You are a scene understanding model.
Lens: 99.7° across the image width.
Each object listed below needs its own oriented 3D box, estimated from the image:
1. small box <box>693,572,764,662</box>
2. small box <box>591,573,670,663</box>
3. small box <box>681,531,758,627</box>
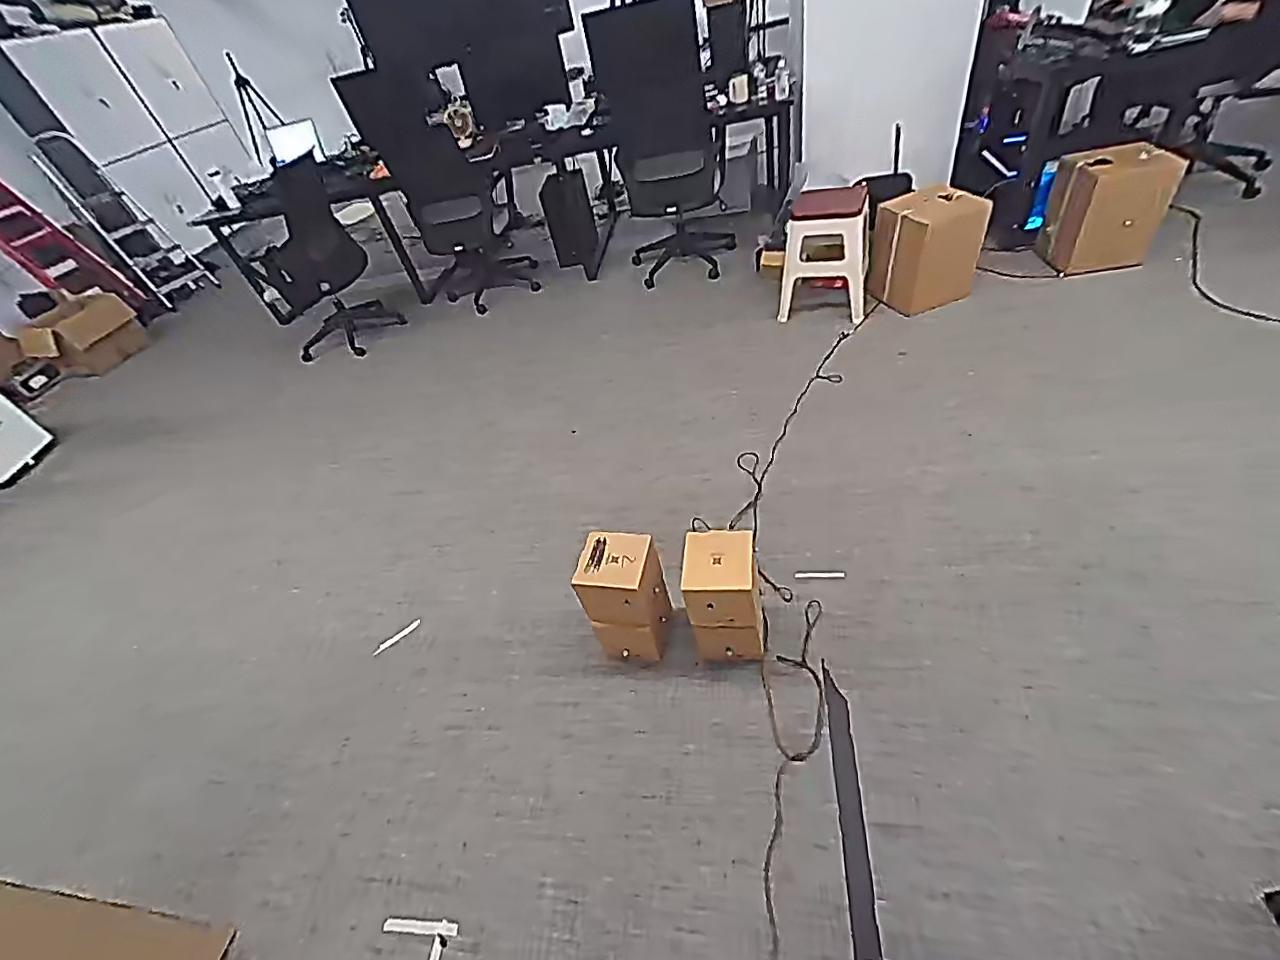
[{"bbox_3d":[0.241,0.364,1.447,0.168,0.176,0.179,-4,44,15],"label":"small box"},{"bbox_3d":[-0.017,0.383,1.505,0.168,0.176,0.179,1,46,18],"label":"small box"},{"bbox_3d":[0.203,0.249,1.338,0.168,0.176,0.179,-4,43,15],"label":"small box"}]
